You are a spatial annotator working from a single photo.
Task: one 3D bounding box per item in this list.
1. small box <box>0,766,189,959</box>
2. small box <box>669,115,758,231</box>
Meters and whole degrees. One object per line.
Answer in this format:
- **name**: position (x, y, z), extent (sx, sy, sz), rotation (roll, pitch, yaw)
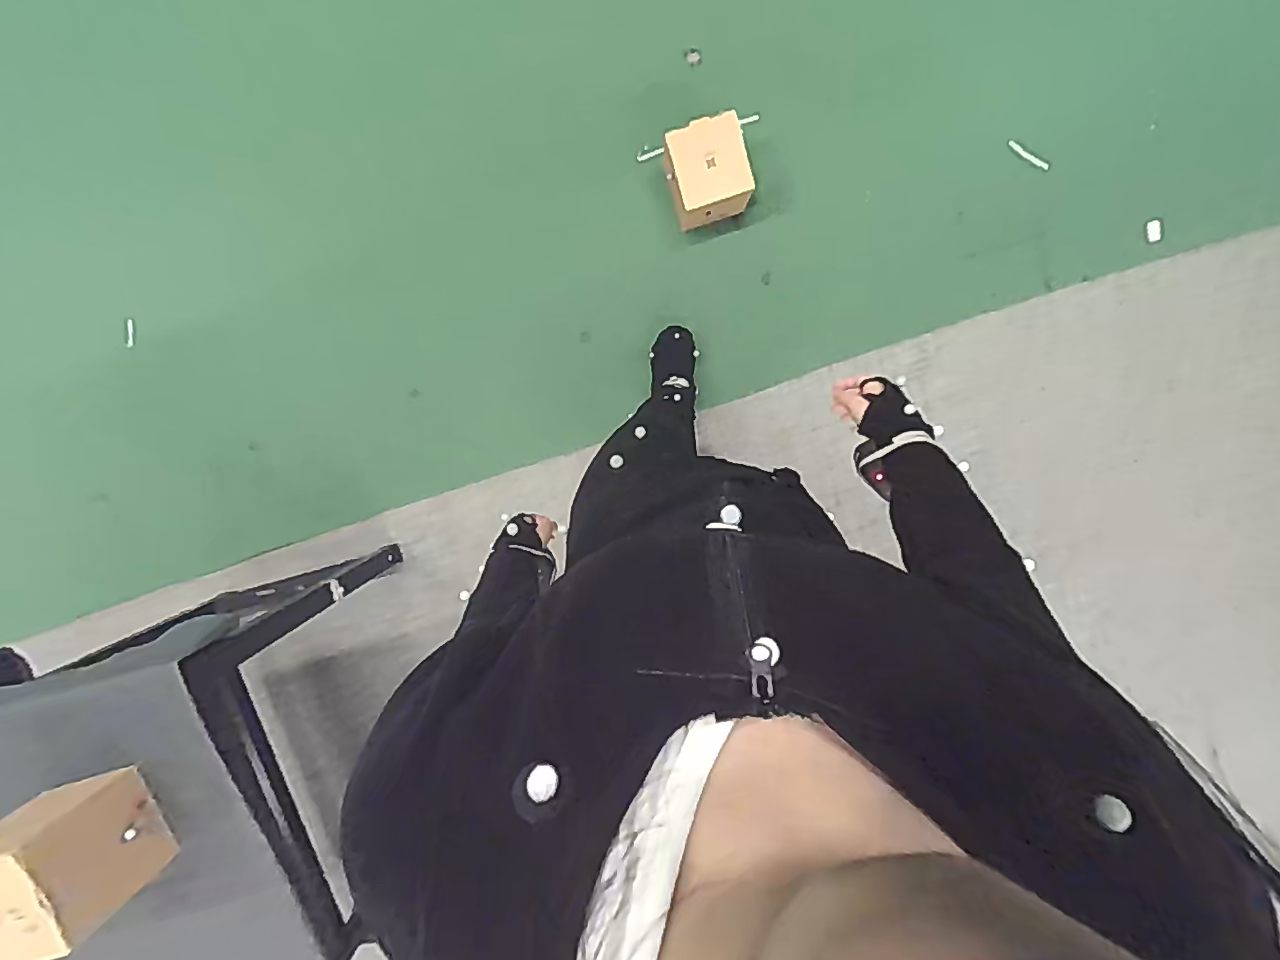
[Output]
- **small box**: position (-0.853, 0.574, 0.819), extent (0.179, 0.176, 0.168), rotation (-16, 96, 2)
- **small box**: position (0.174, -0.724, 1.303), extent (0.168, 0.176, 0.179), rotation (-17, 96, 6)
